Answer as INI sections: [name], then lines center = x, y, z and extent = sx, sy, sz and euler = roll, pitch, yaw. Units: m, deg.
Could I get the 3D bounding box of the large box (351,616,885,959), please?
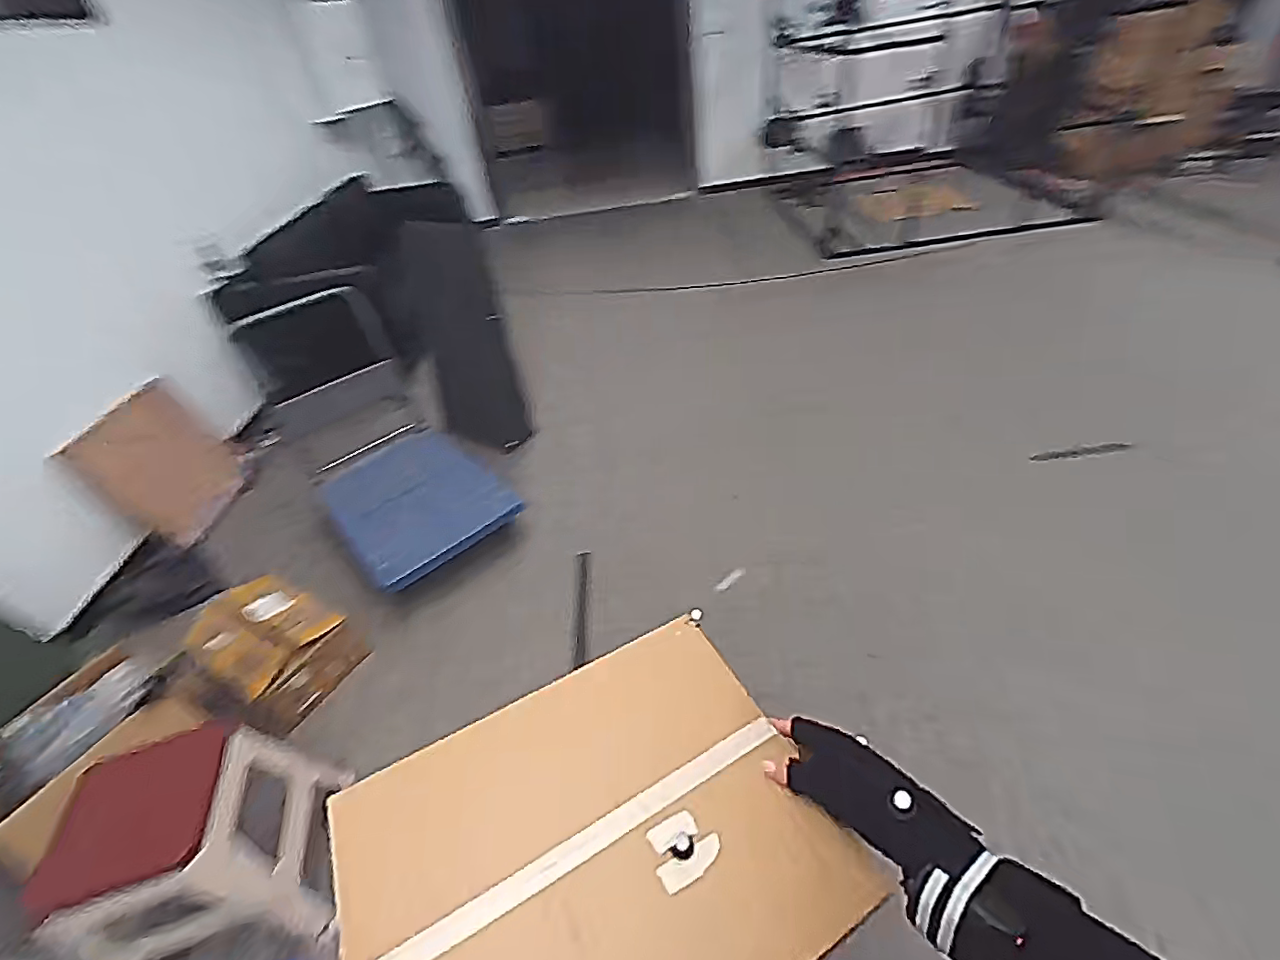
[large box]
center = -0.031, 0.429, 0.585
extent = 0.408, 0.320, 0.320
euler = -21, 45, -20
